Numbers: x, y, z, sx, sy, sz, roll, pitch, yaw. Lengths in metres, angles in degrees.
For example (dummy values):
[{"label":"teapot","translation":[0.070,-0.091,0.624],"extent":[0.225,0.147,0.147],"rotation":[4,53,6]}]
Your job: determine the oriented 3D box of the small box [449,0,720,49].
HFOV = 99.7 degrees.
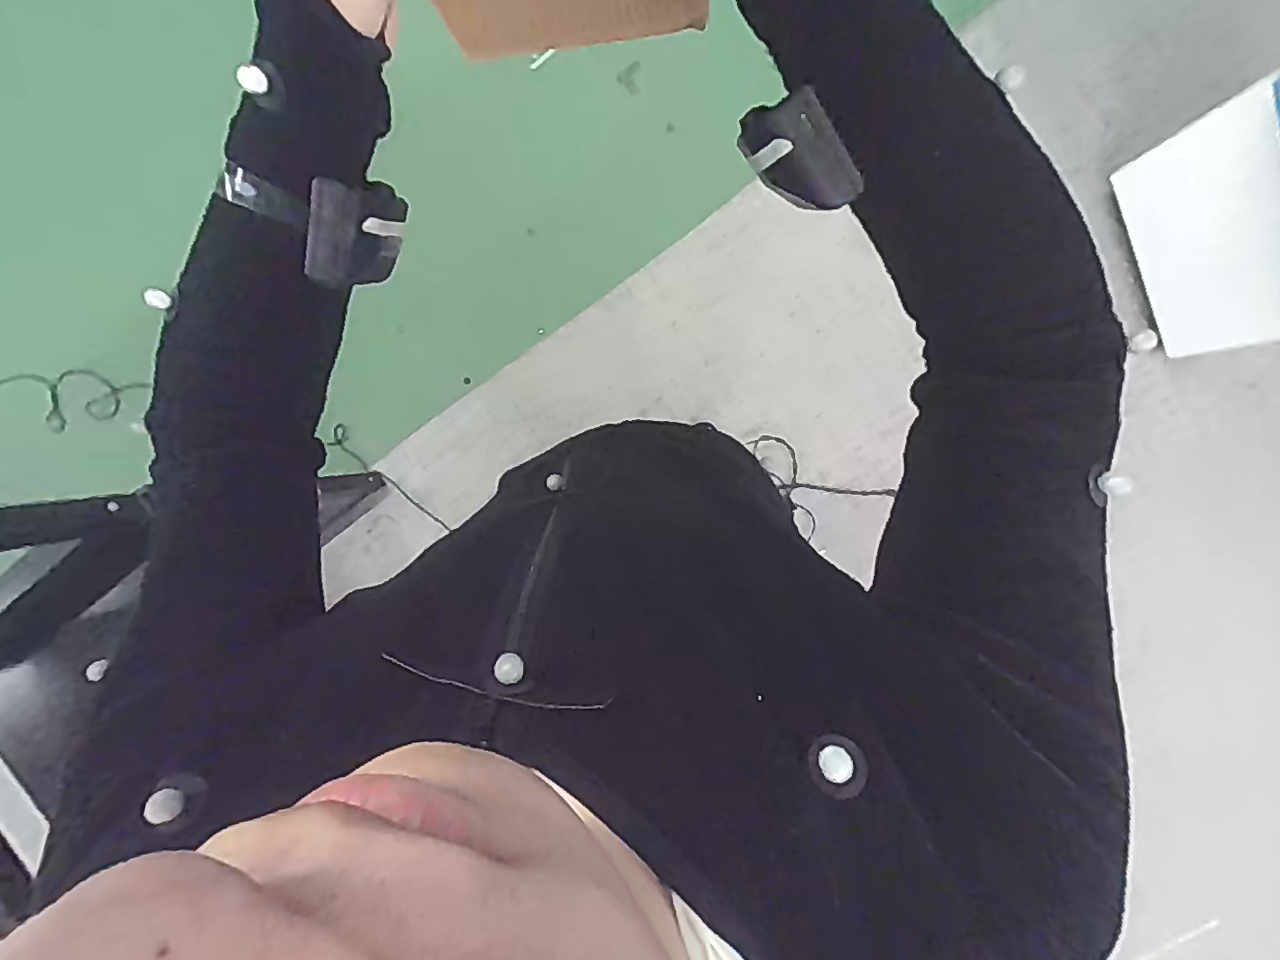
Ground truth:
[{"label":"small box","translation":[-0.045,-0.376,0.291],"extent":[0.179,0.176,0.168],"rotation":[0,95,8]}]
